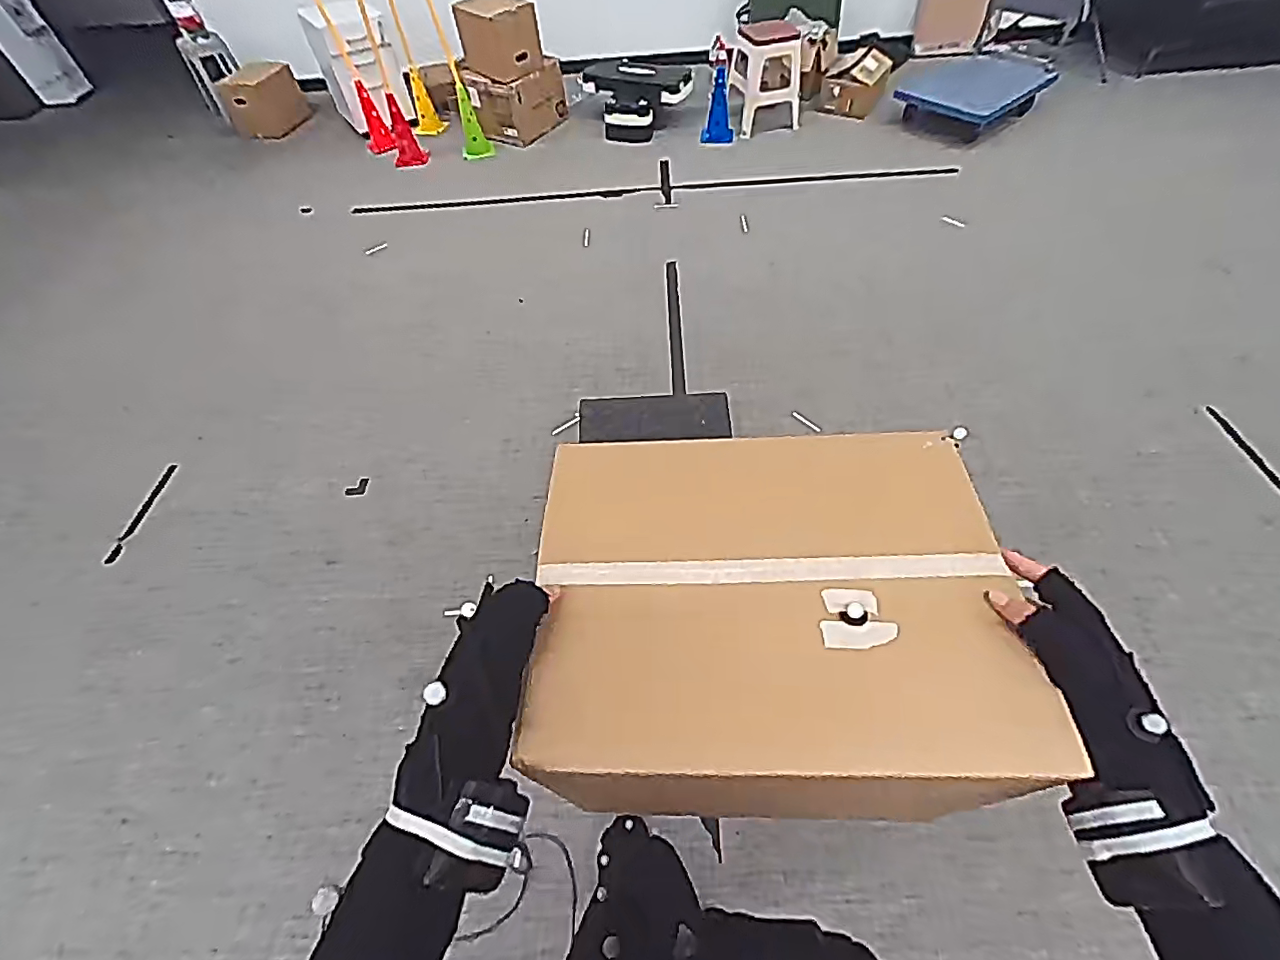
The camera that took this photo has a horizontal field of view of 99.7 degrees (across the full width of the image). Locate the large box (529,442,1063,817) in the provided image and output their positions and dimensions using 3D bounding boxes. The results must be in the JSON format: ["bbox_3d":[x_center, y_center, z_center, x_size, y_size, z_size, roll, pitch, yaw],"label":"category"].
[{"bbox_3d":[0.122,0.180,0.608,0.408,0.320,0.320,-2,53,4],"label":"large box"}]
